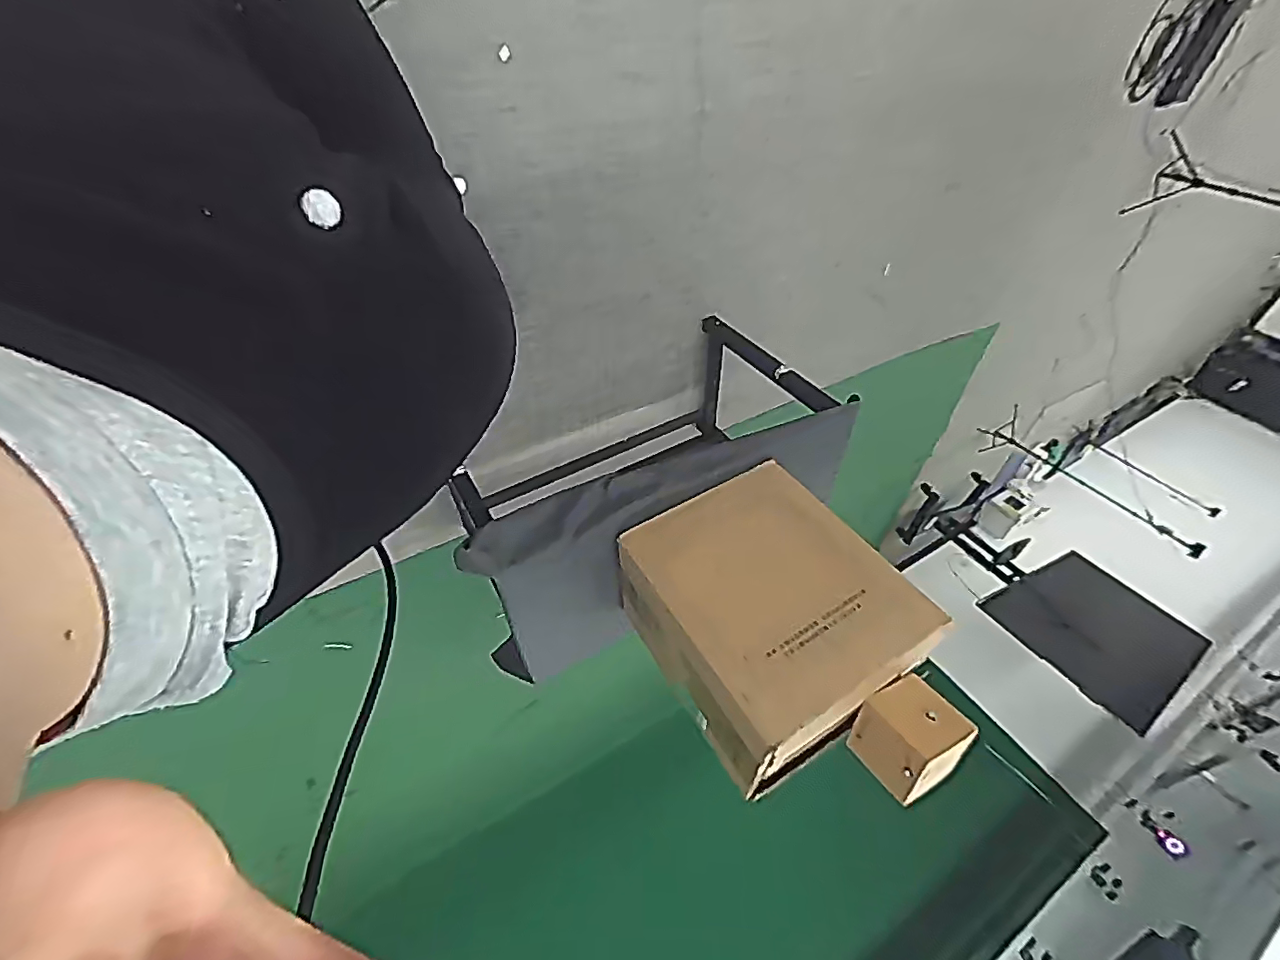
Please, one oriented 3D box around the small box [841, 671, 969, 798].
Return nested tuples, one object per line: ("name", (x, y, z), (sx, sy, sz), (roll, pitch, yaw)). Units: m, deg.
("small box", (0.600, 0.574, 1.241), (0.179, 0.176, 0.168), (-13, 125, -28))
